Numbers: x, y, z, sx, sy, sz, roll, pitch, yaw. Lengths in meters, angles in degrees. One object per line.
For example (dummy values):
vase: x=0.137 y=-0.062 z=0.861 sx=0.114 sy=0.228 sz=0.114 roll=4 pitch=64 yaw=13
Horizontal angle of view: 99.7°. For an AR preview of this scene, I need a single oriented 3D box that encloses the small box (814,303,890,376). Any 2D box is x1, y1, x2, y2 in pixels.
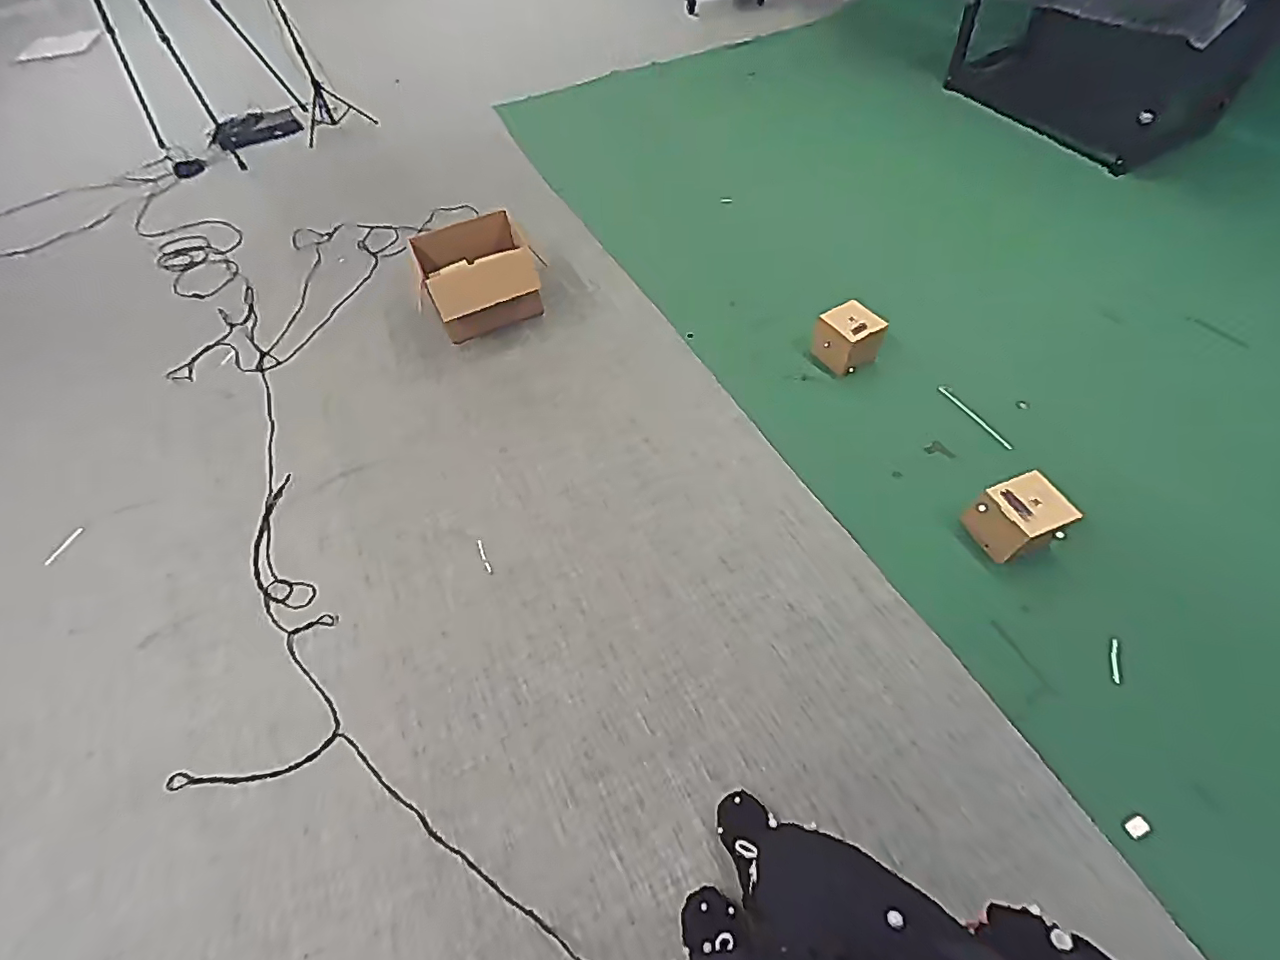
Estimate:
small box: x=0.761 y=-0.501 z=1.959 sx=0.168 sy=0.176 sz=0.179 roll=-26 pitch=56 yaw=-14
